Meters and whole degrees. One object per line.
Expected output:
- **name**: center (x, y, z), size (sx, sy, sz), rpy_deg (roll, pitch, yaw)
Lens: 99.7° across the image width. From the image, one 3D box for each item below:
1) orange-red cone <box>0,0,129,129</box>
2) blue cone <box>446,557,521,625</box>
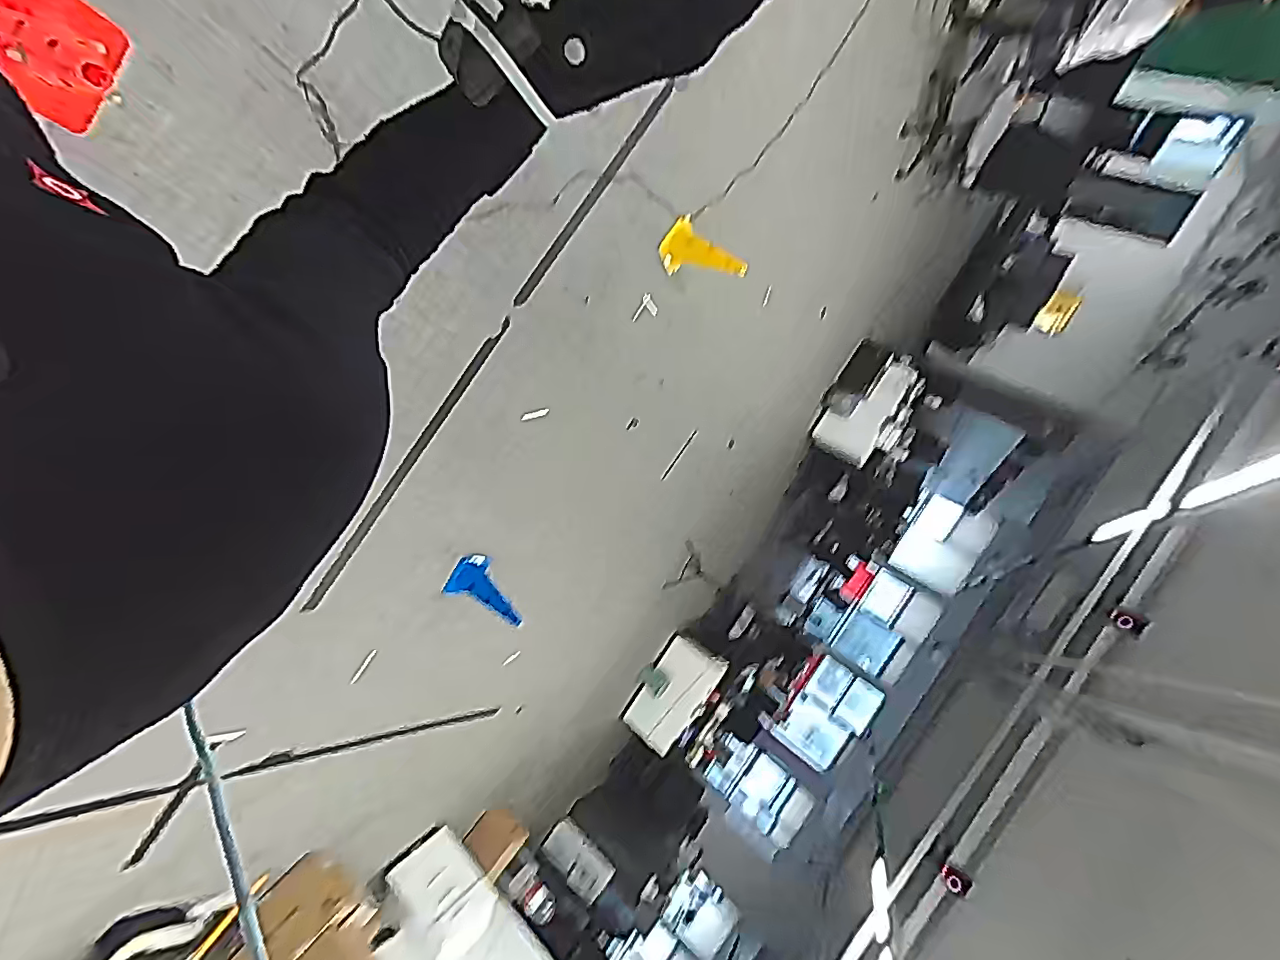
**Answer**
- **orange-red cone**: center (-0.843, -0.613, 0.777), size (0.199, 0.360, 0.198), rpy_deg (-57, 153, 4)
- **blue cone**: center (-0.649, 0.509, 2.370), size (0.193, 0.380, 0.192), rpy_deg (-58, 153, 4)
